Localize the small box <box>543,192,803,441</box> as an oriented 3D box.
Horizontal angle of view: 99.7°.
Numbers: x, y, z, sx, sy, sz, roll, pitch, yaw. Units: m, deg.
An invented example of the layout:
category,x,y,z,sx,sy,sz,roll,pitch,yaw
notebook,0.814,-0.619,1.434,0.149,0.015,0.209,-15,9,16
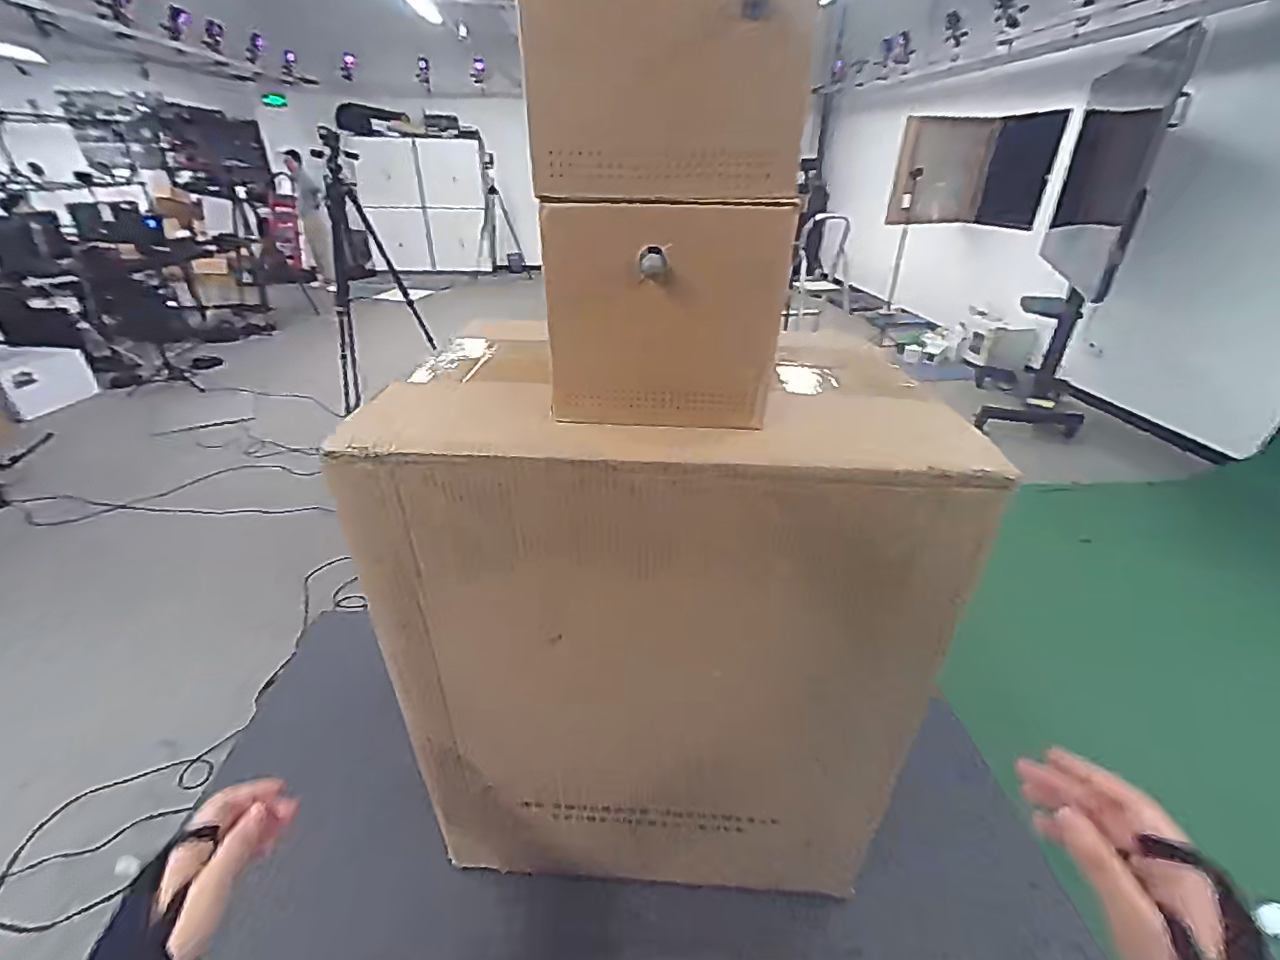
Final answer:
category,x,y,z,sx,sy,sz,roll,pitch,yaw
small box,0.026,-0.144,0.467,0.179,0.176,0.168,3,32,4
